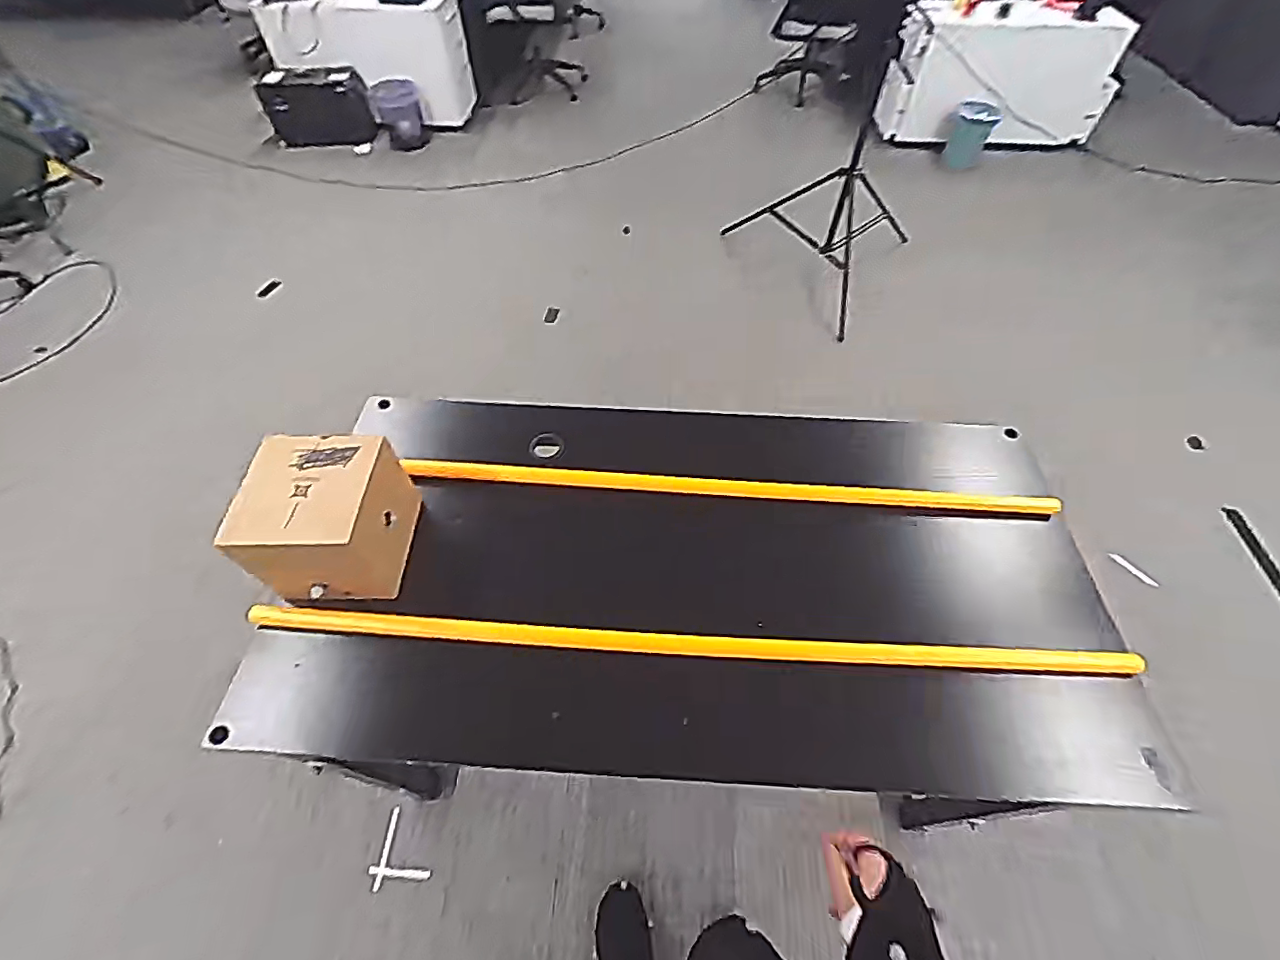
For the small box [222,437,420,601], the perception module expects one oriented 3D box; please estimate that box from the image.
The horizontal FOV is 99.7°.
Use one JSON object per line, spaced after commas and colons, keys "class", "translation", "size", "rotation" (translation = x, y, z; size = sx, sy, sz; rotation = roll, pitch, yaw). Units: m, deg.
{"class": "small box", "translation": [-0.433, 0.057, 0.774], "size": [0.168, 0.176, 0.179], "rotation": [-1, 55, -1]}
